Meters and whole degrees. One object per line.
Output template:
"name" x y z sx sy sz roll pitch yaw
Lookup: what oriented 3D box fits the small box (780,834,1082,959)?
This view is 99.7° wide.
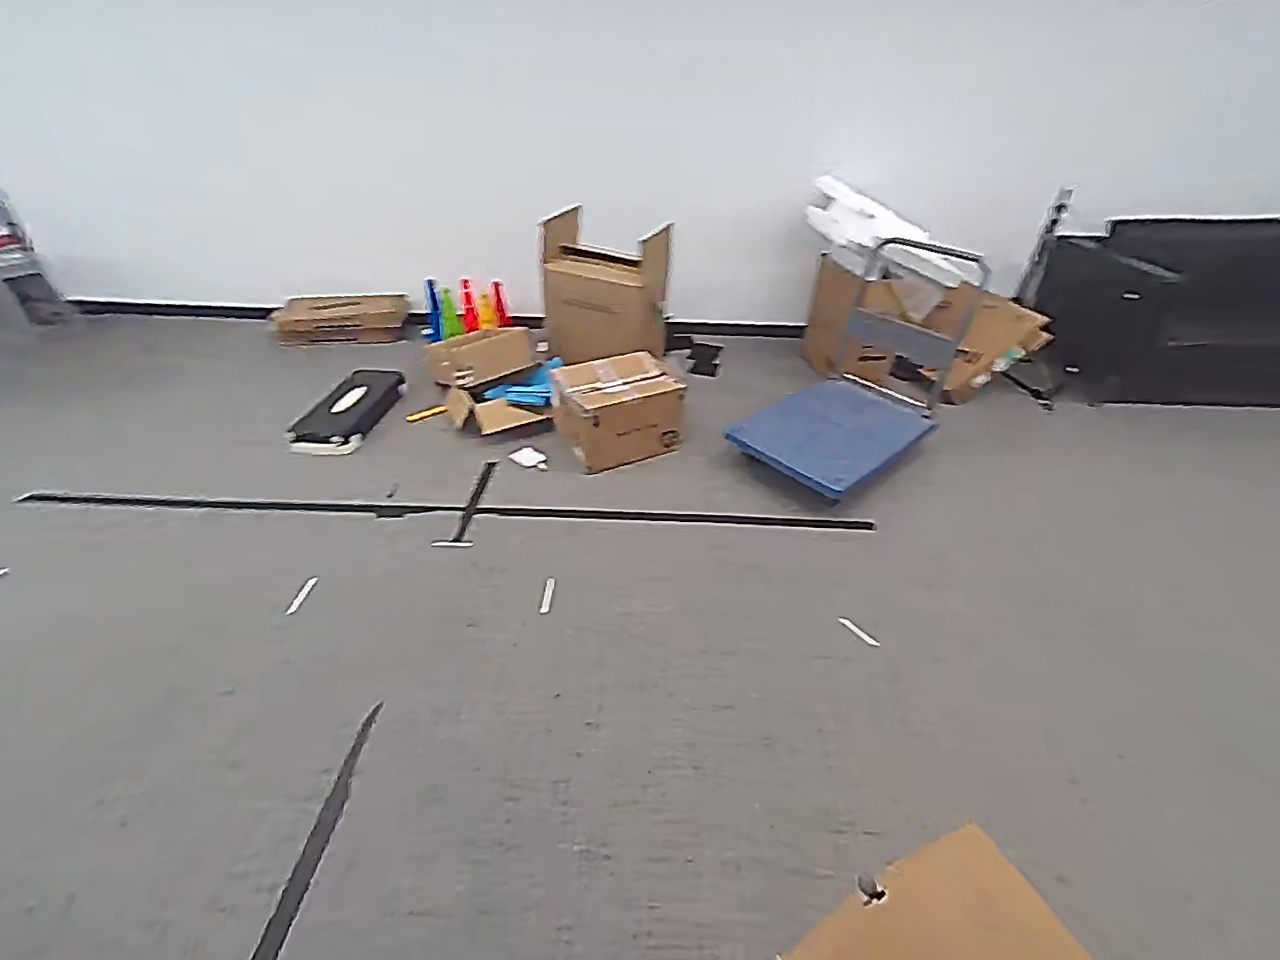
"small box" 0.184 0.369 0.340 0.179 0.176 0.168 -21 50 -23
